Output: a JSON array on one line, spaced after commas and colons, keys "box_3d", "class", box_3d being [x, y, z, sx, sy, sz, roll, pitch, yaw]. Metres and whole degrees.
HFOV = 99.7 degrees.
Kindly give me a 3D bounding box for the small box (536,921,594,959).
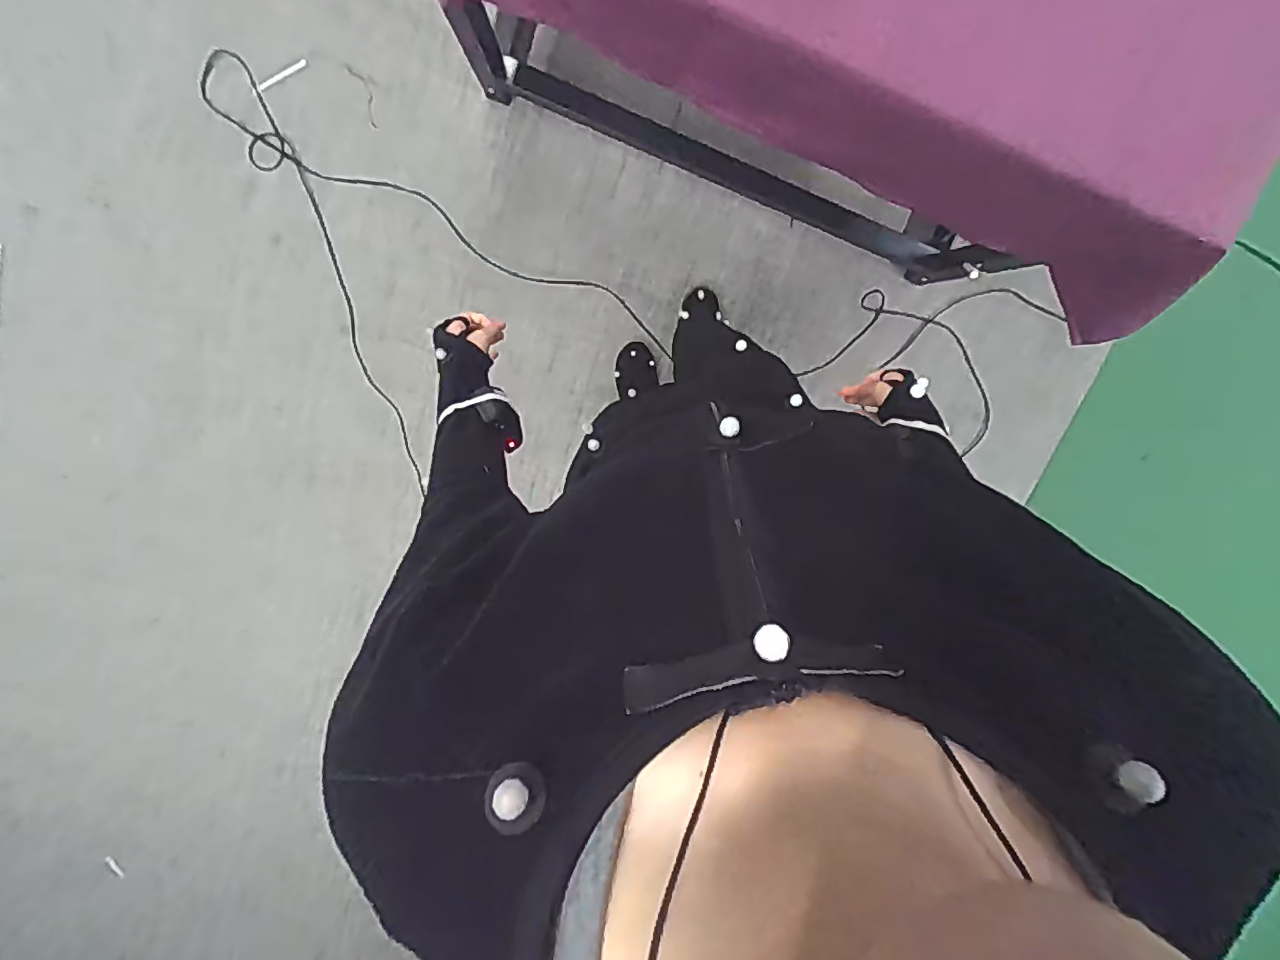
[{"box_3d": [-0.258, 1.642, 1.826, 0.179, 0.176, 0.168, 14, 102, -7], "class": "small box"}]
